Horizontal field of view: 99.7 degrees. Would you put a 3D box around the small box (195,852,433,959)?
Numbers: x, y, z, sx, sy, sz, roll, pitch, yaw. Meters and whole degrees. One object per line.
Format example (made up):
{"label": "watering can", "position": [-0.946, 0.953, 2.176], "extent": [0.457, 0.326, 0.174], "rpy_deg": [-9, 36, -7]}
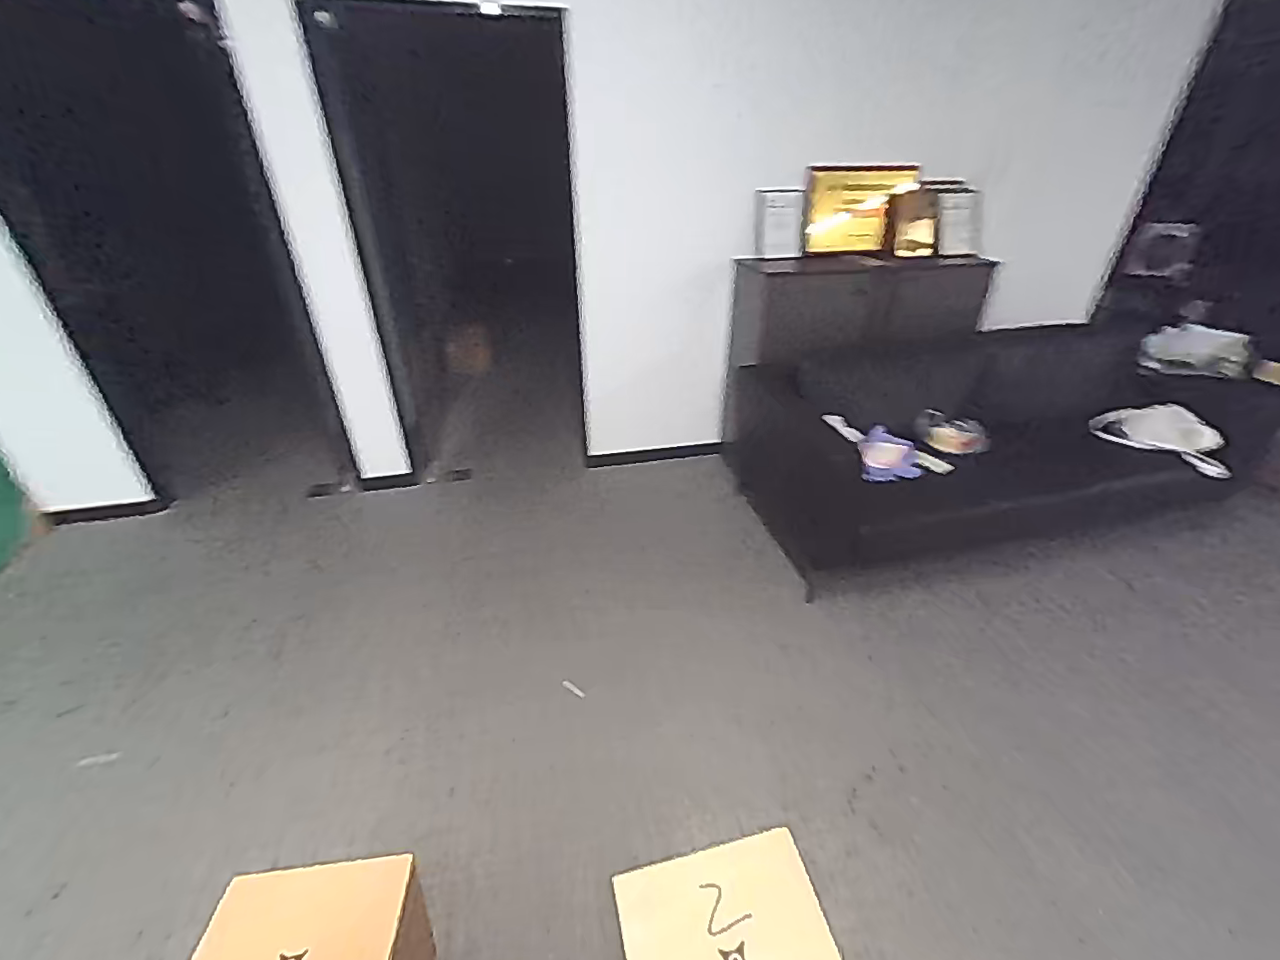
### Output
{"label": "small box", "position": [-0.290, 0.476, 0.478], "extent": [0.168, 0.176, 0.179], "rpy_deg": [-1, 25, -7]}
